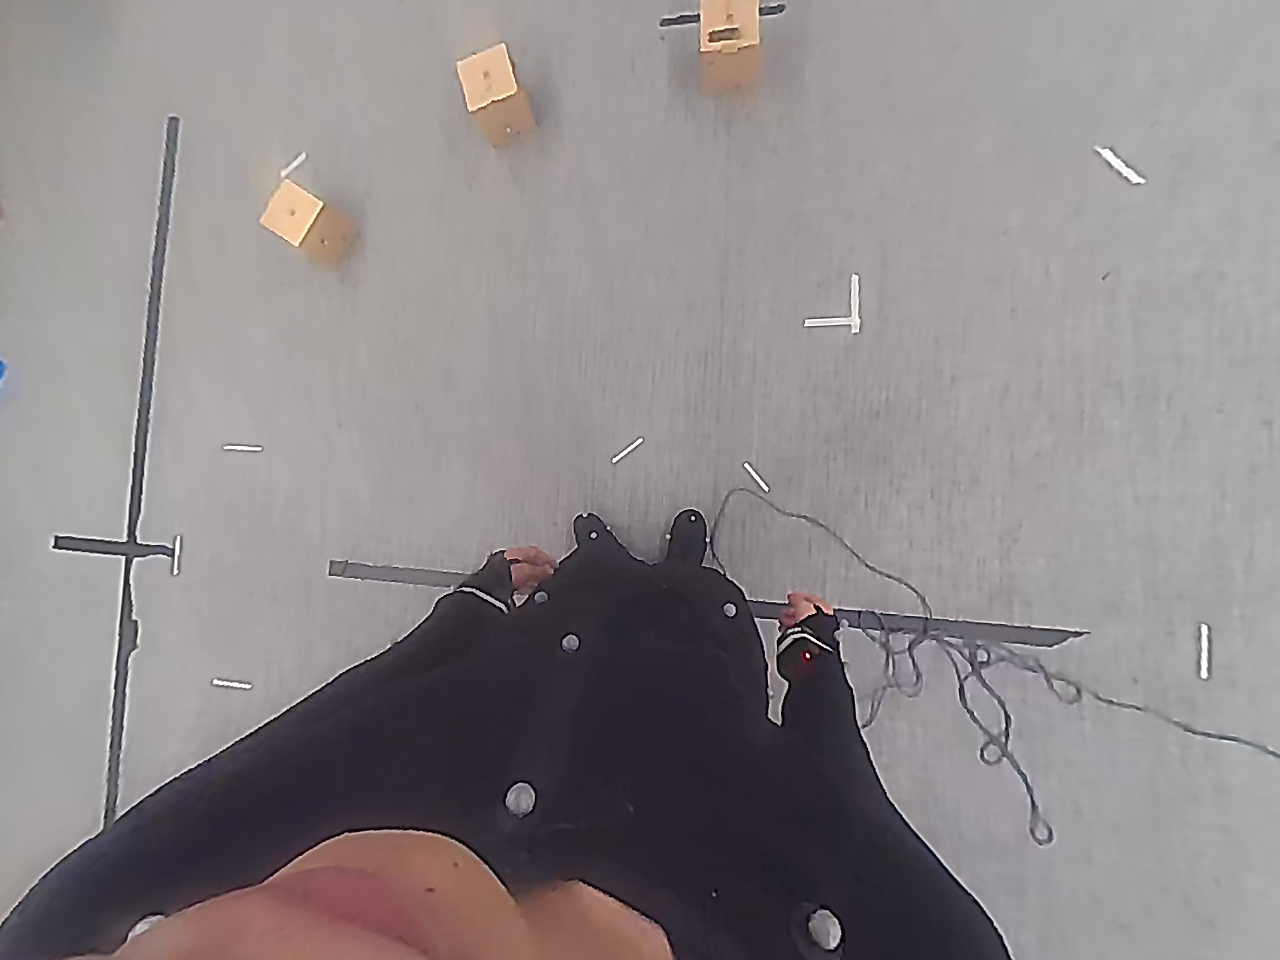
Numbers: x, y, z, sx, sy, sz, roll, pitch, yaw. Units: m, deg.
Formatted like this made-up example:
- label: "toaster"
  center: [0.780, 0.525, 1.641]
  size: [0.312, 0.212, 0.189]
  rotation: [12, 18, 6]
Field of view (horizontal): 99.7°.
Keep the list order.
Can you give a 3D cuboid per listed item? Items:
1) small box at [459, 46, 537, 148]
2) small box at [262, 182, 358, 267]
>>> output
- label: "small box"
  center: [-0.448, -1.211, 1.720]
  size: [0.168, 0.176, 0.179]
  rotation: [-17, 84, 8]
- label: "small box"
  center: [-1.086, -0.837, 1.795]
  size: [0.179, 0.176, 0.168]
  rotation: [33, 92, 10]
